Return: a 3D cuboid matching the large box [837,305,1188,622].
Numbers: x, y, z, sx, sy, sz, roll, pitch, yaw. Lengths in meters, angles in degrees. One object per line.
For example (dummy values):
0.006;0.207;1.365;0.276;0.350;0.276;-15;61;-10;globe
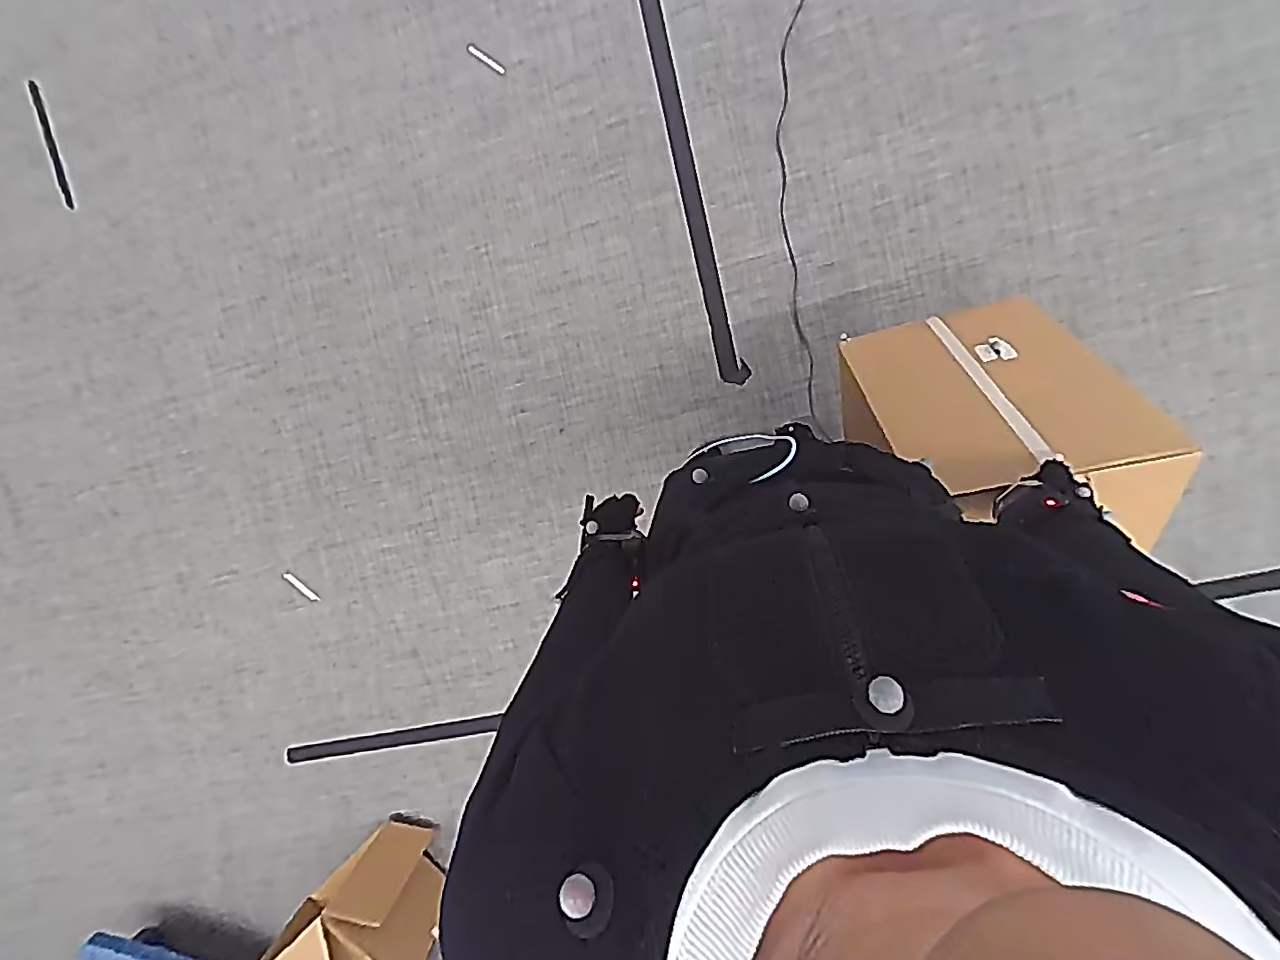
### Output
0.551;-0.032;0.910;0.320;0.408;0.320;-12;131;10;large box
